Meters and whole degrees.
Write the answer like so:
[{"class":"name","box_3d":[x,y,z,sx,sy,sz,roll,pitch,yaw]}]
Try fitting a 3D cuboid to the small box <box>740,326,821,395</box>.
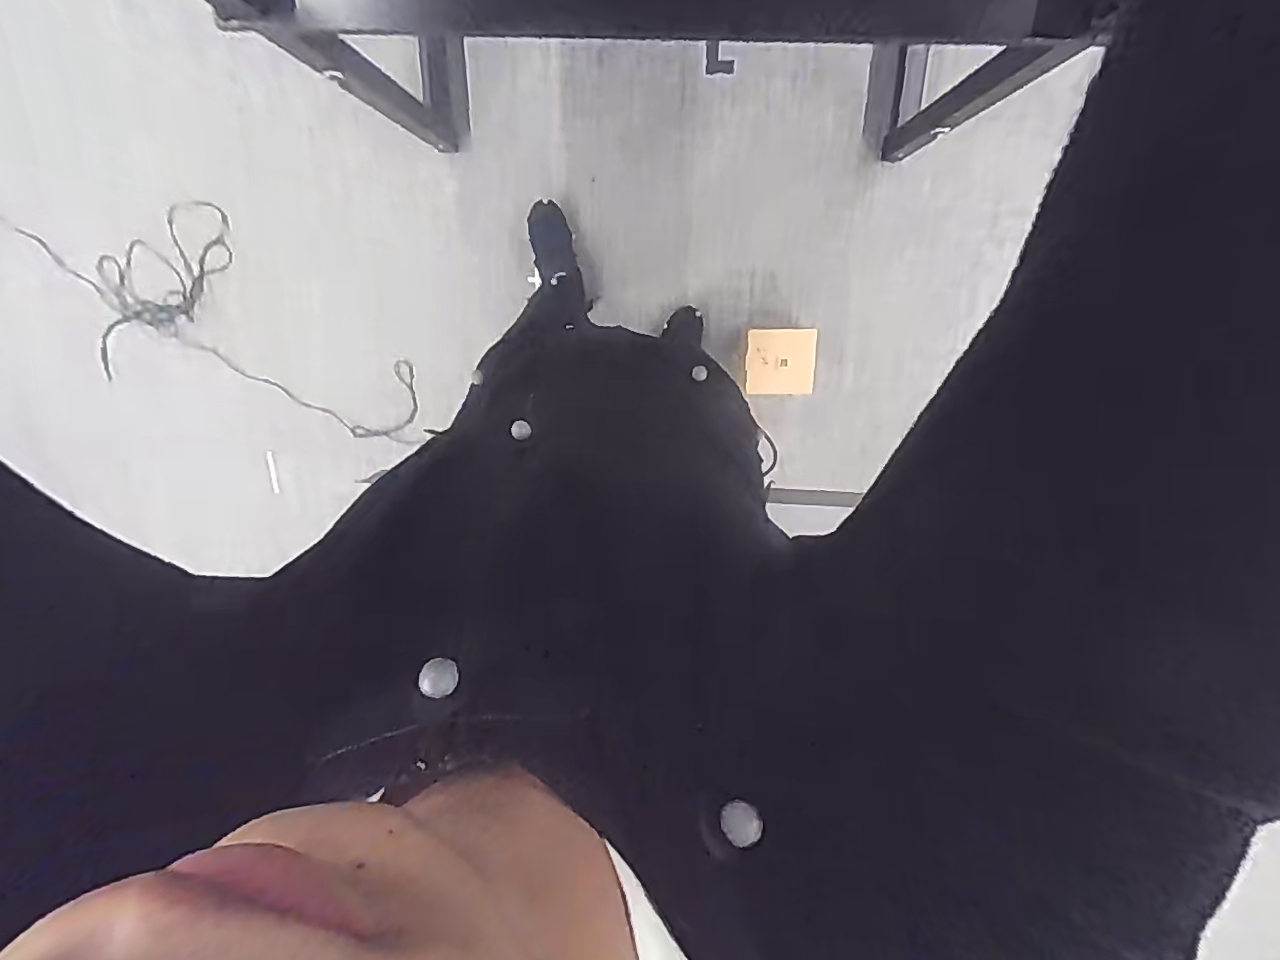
[{"class":"small box","box_3d":[0.372,-0.326,1.454,0.179,0.176,0.168,1,108,3]}]
